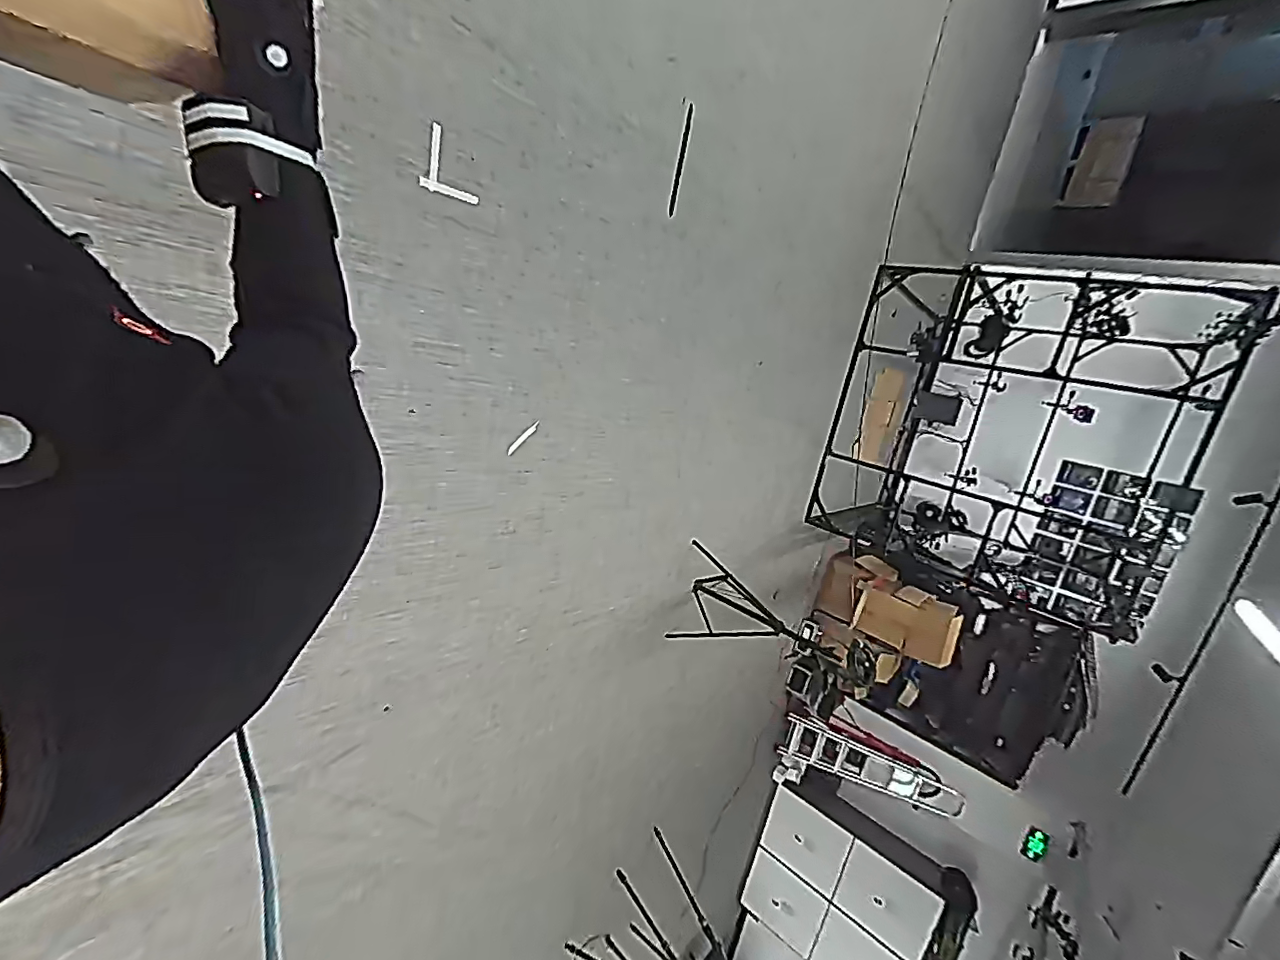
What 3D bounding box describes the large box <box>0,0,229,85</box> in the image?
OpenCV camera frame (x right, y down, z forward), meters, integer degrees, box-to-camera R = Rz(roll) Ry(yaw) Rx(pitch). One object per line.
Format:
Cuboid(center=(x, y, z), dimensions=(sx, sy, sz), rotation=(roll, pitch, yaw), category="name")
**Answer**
Cuboid(center=(-0.513, -0.484, 0.293), dimensions=(0.408, 0.320, 0.320), rotation=(-7, 118, -54), category="large box")
